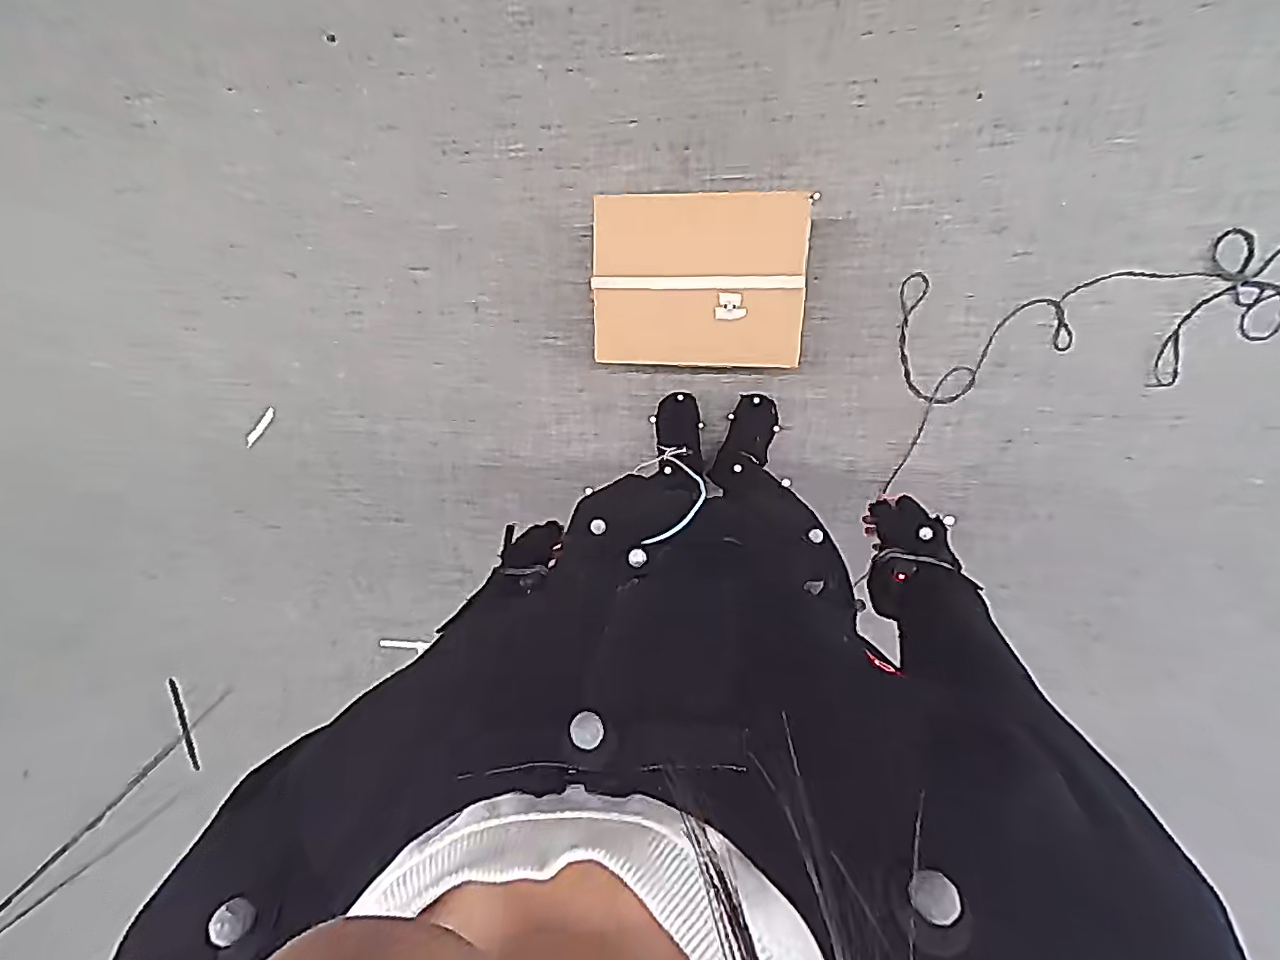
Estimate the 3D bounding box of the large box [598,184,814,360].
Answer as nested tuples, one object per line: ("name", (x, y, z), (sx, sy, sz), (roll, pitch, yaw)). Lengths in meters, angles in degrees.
("large box", (0.136, -0.427, 1.176), (0.408, 0.320, 0.320), (3, 106, 8))
